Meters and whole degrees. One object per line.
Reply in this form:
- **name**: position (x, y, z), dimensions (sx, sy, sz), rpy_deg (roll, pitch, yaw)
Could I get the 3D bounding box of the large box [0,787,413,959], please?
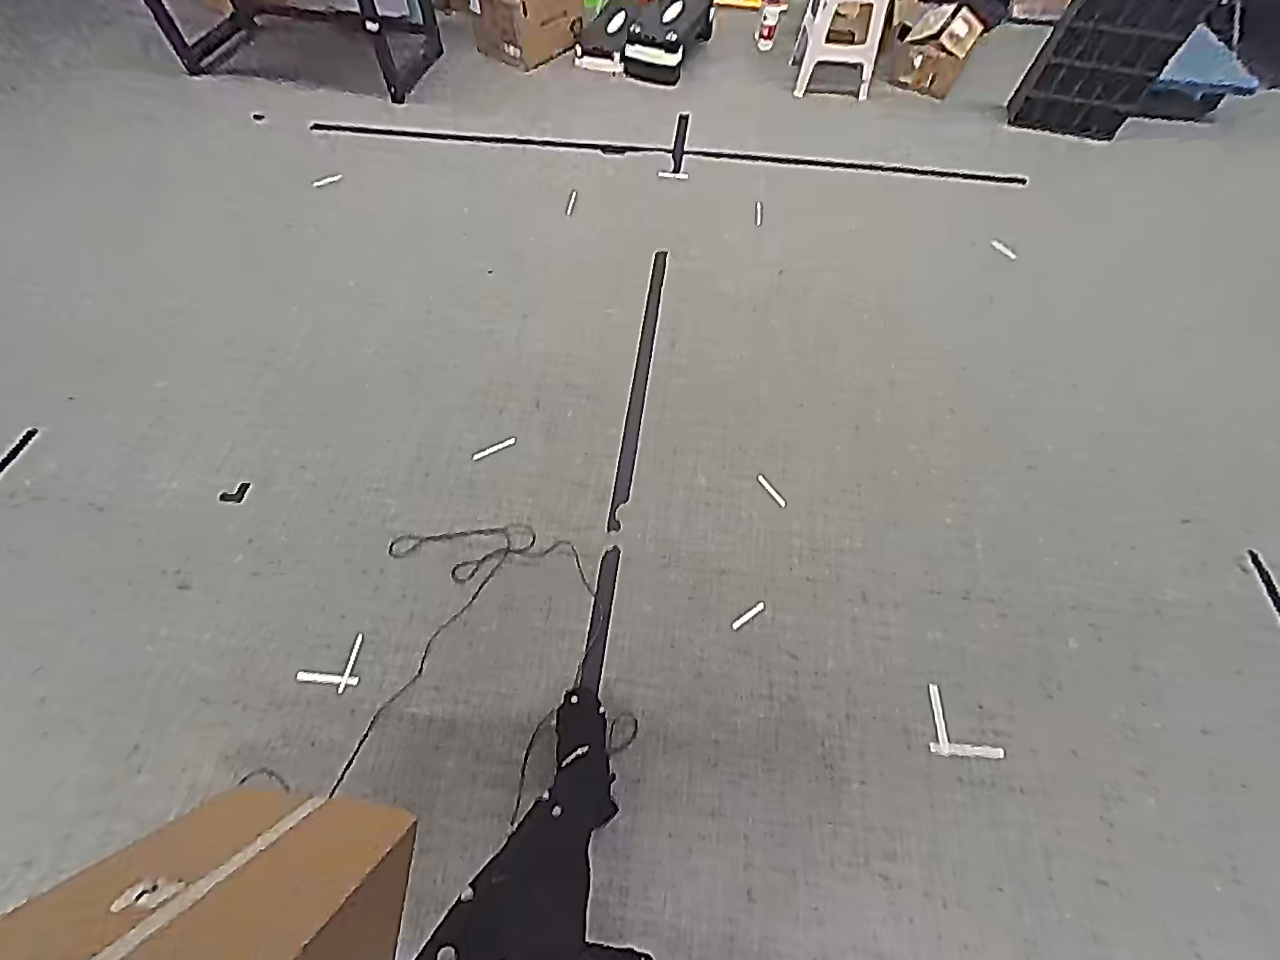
- **large box**: position (-0.538, 0.648, 0.667), dimensions (0.320, 0.408, 0.320), rpy_deg (7, 83, 3)
